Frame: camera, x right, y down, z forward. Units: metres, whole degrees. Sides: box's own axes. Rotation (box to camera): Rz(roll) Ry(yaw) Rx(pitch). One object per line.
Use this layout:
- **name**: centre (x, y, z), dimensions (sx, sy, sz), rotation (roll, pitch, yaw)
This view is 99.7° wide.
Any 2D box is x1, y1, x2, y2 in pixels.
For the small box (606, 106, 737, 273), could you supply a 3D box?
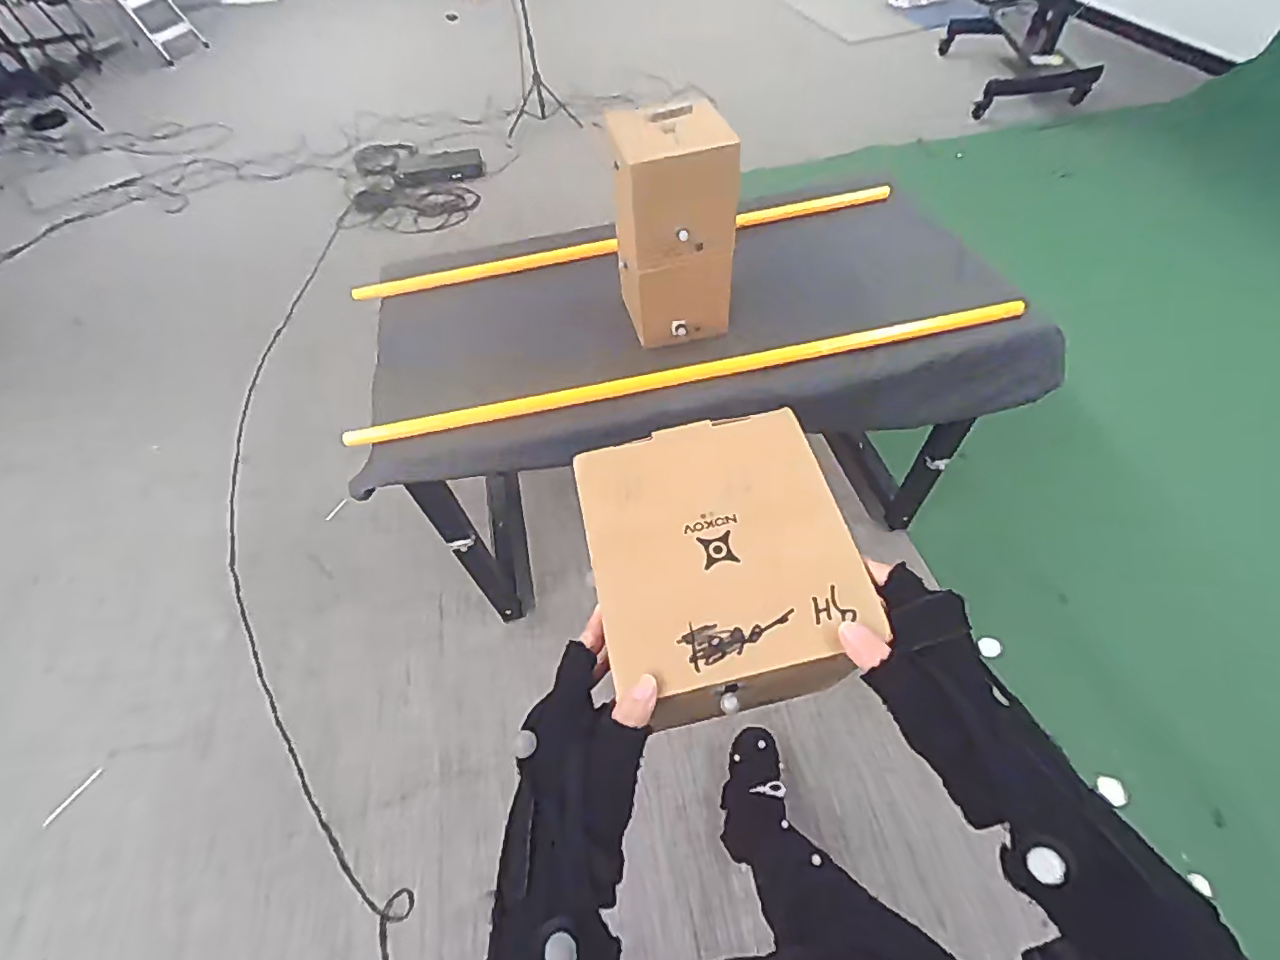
- **small box**: centre (0.047, -0.465, 0.871), dimensions (0.168, 0.176, 0.179), rotation (-13, 54, -4)

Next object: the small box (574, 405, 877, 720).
- **small box**: centre (0.052, 0.072, 0.430), dimensions (0.168, 0.176, 0.179), rotation (-14, 59, -1)

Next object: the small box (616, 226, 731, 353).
- **small box**: centre (0.059, -0.366, 1.002), dimensions (0.168, 0.176, 0.179), rotation (-15, 55, -4)
